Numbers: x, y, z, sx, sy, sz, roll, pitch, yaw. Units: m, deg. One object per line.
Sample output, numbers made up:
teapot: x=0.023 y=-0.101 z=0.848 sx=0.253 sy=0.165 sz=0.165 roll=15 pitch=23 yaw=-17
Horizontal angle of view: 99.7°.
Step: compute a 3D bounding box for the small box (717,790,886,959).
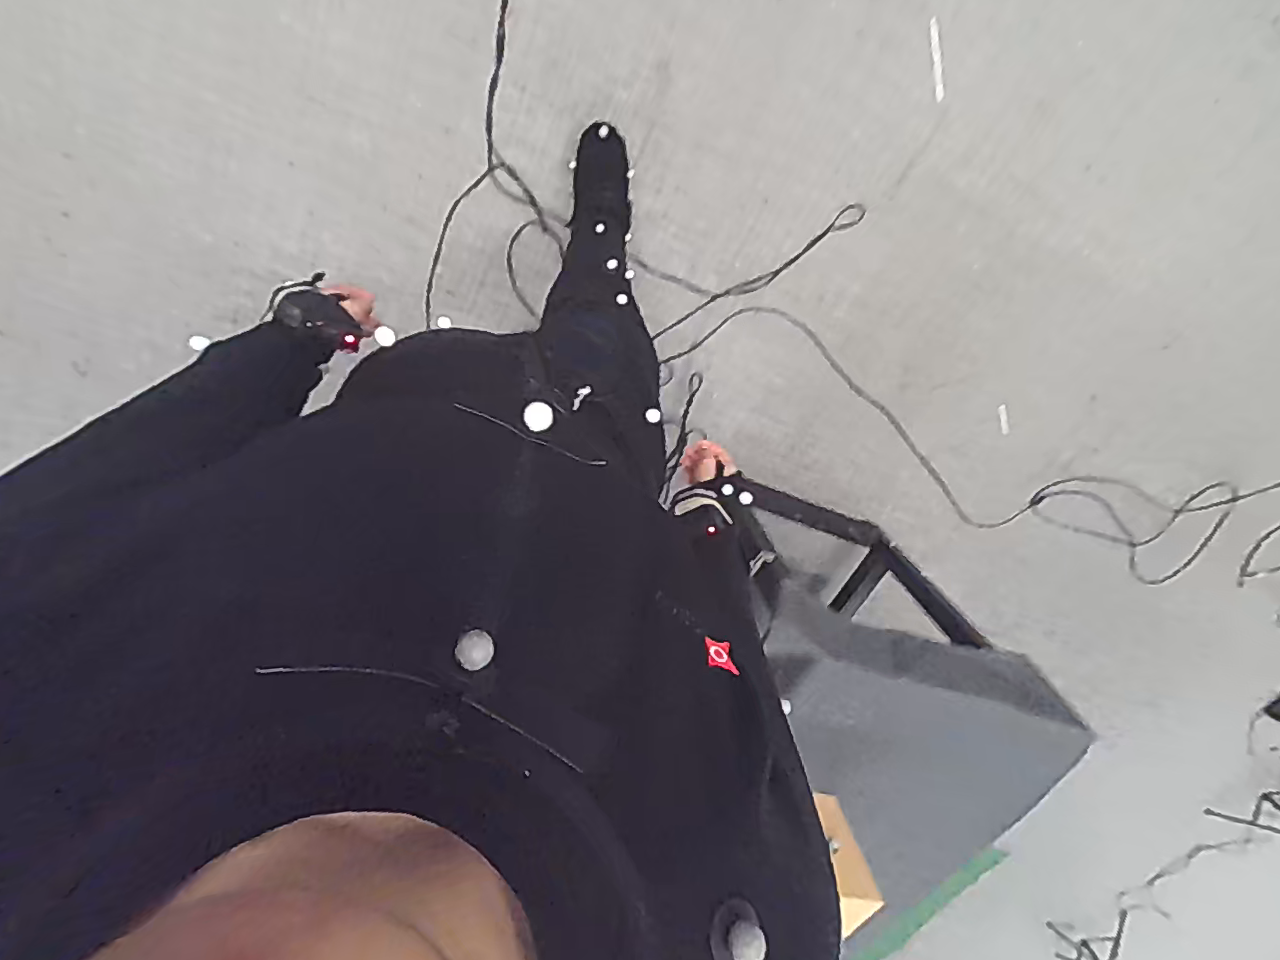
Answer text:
small box: x=0.244 y=0.635 z=0.871 sx=0.168 sy=0.176 sz=0.179 roll=21 pitch=113 yaw=-18
